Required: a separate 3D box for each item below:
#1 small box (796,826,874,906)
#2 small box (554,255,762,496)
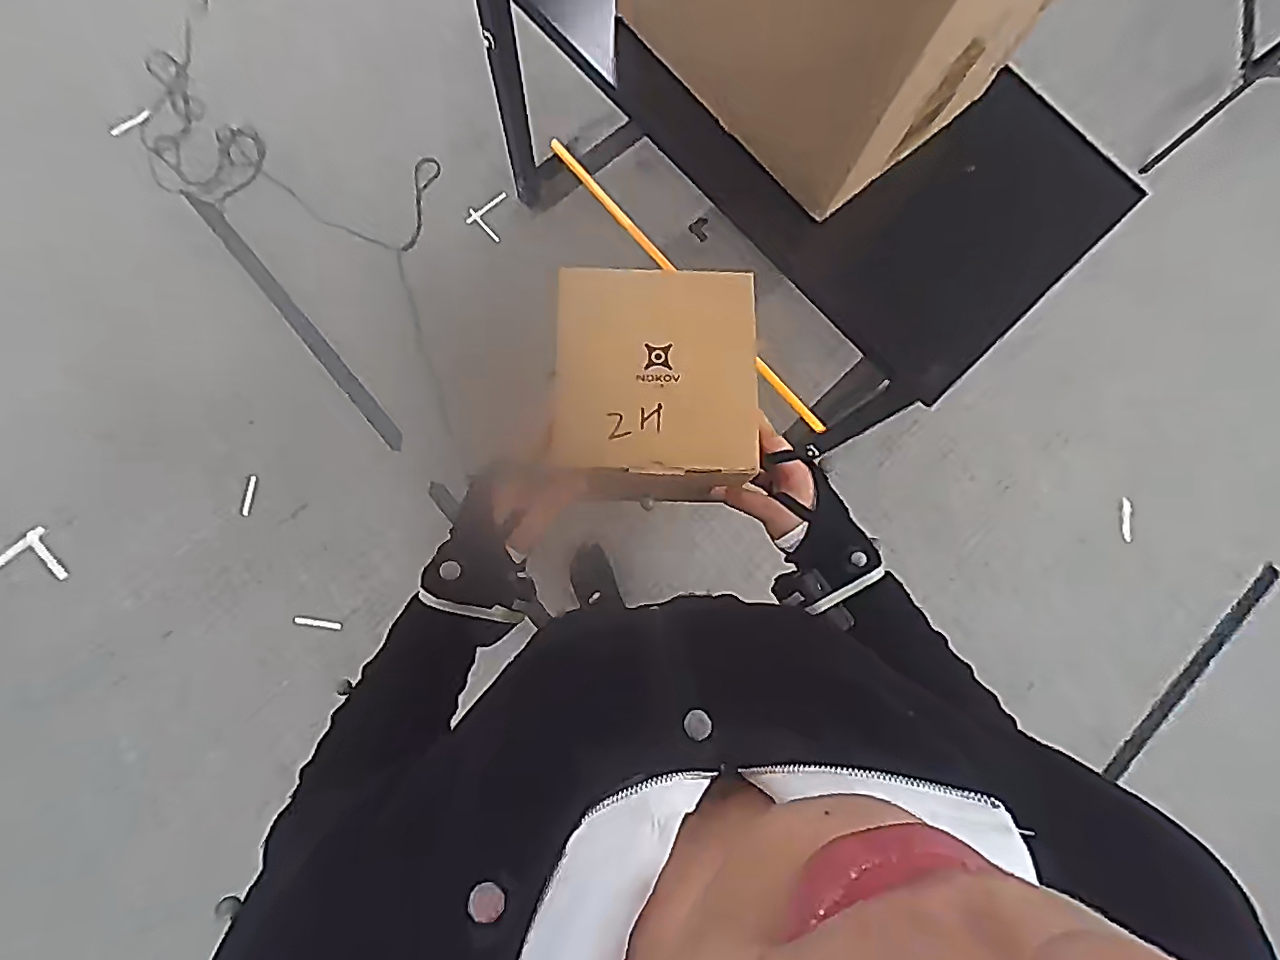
[{"bbox_3d":[0.519,1.002,1.323,0.168,0.176,0.179,-43,84,-11],"label":"small box"},{"bbox_3d":[0.013,-0.085,0.514,0.168,0.176,0.179,1,80,-2],"label":"small box"}]
